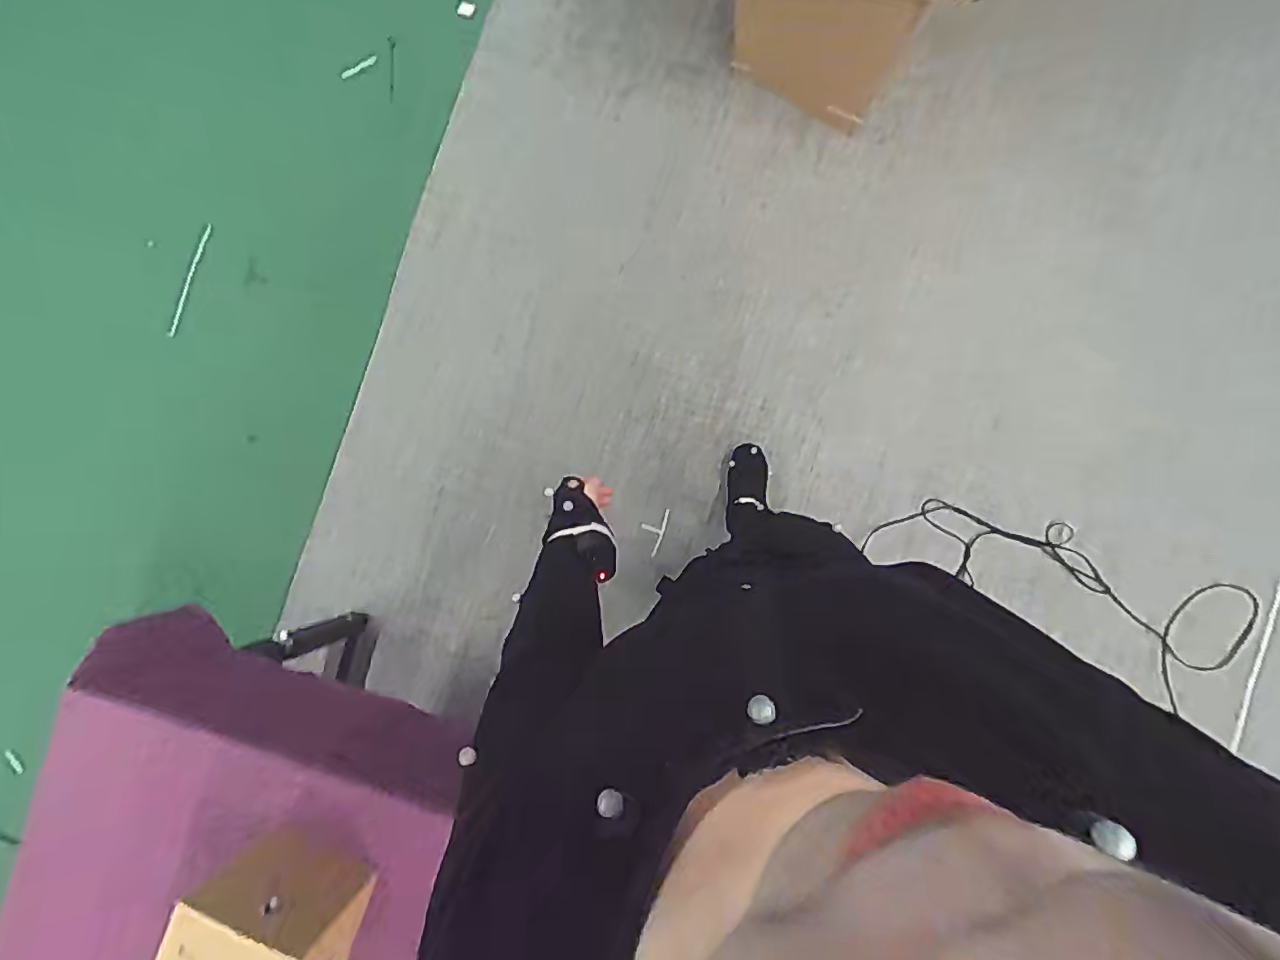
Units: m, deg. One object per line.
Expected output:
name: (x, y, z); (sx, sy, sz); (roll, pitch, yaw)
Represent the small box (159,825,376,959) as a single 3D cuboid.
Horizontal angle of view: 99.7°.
small box: (-0.501, 0.617, 0.735); (0.179, 0.176, 0.168); (21, 89, 7)
